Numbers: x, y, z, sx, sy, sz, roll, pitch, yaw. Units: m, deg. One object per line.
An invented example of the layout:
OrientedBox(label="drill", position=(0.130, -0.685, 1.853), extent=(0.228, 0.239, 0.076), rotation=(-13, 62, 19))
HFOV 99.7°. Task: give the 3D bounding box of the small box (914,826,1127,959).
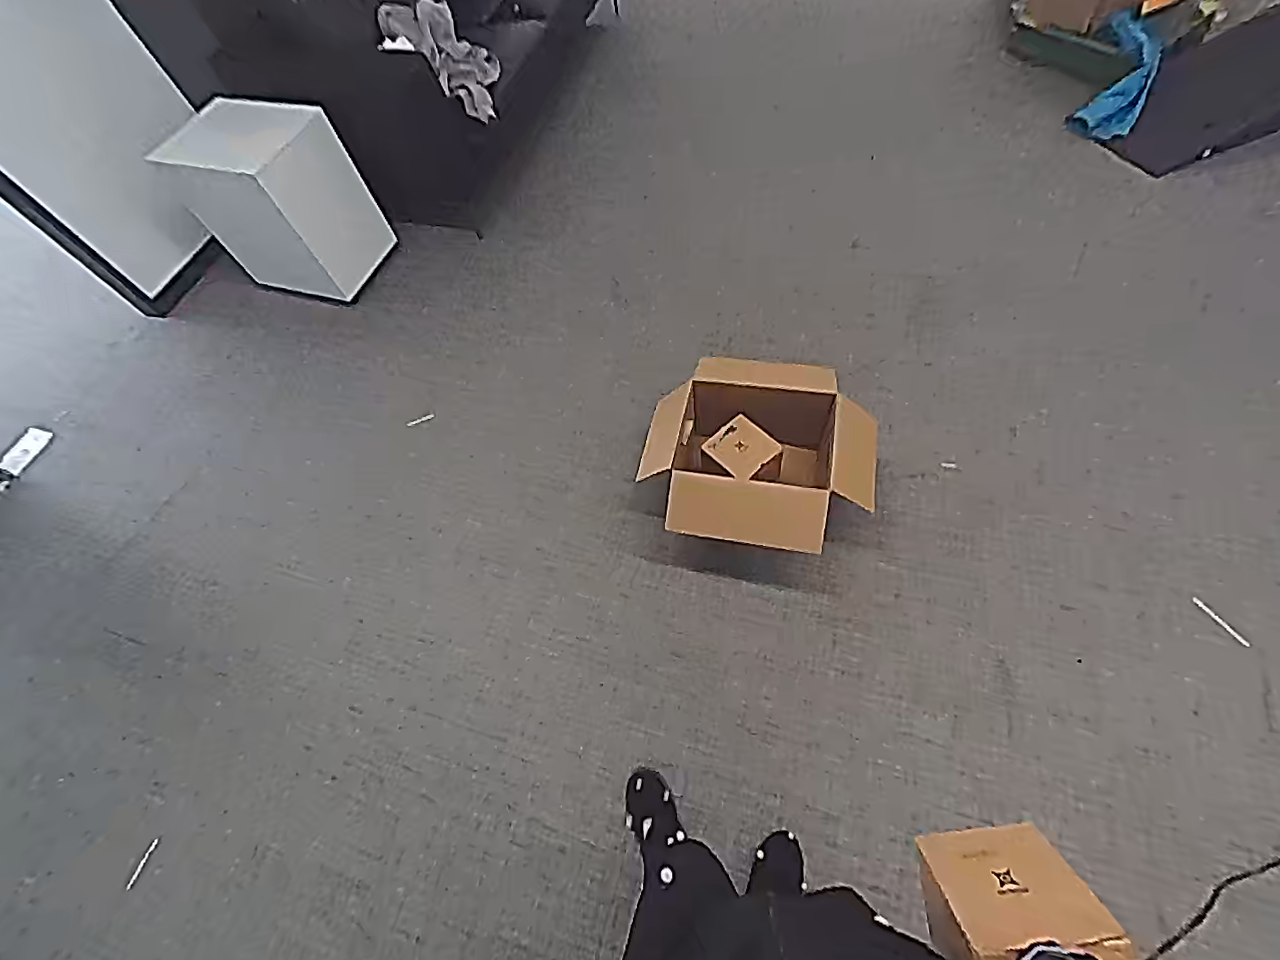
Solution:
OrientedBox(label="small box", position=(0.478, 0.587, 0.687), extent=(0.168, 0.179, 0.176), rotation=(-10, 94, 6))
